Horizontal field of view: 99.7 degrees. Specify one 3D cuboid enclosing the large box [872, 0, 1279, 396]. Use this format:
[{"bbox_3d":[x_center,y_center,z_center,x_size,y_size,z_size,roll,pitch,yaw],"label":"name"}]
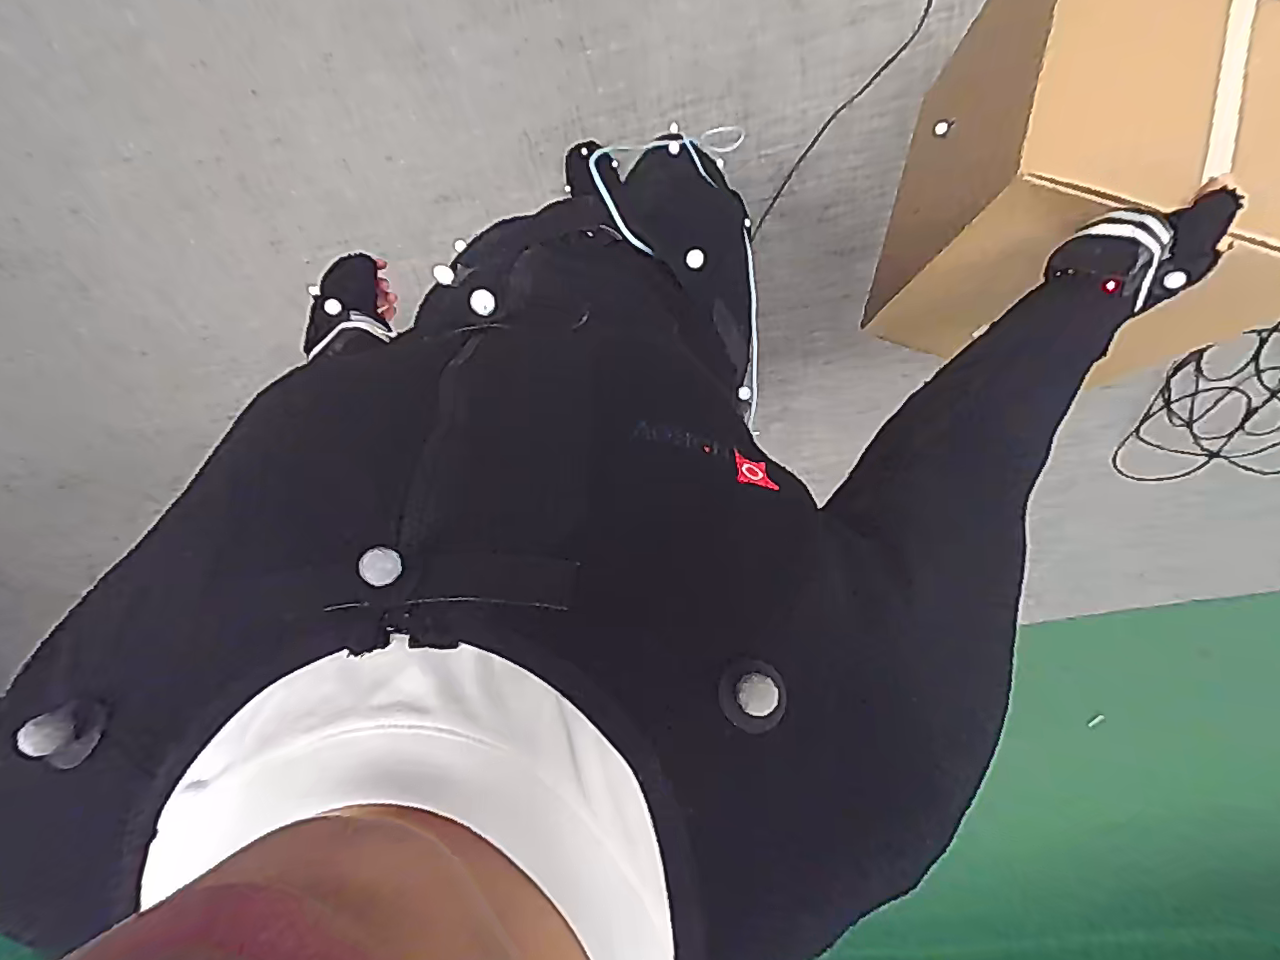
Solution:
[{"bbox_3d":[0.525,-0.365,0.643,0.320,0.320,0.408,18,80,0],"label":"large box"}]
